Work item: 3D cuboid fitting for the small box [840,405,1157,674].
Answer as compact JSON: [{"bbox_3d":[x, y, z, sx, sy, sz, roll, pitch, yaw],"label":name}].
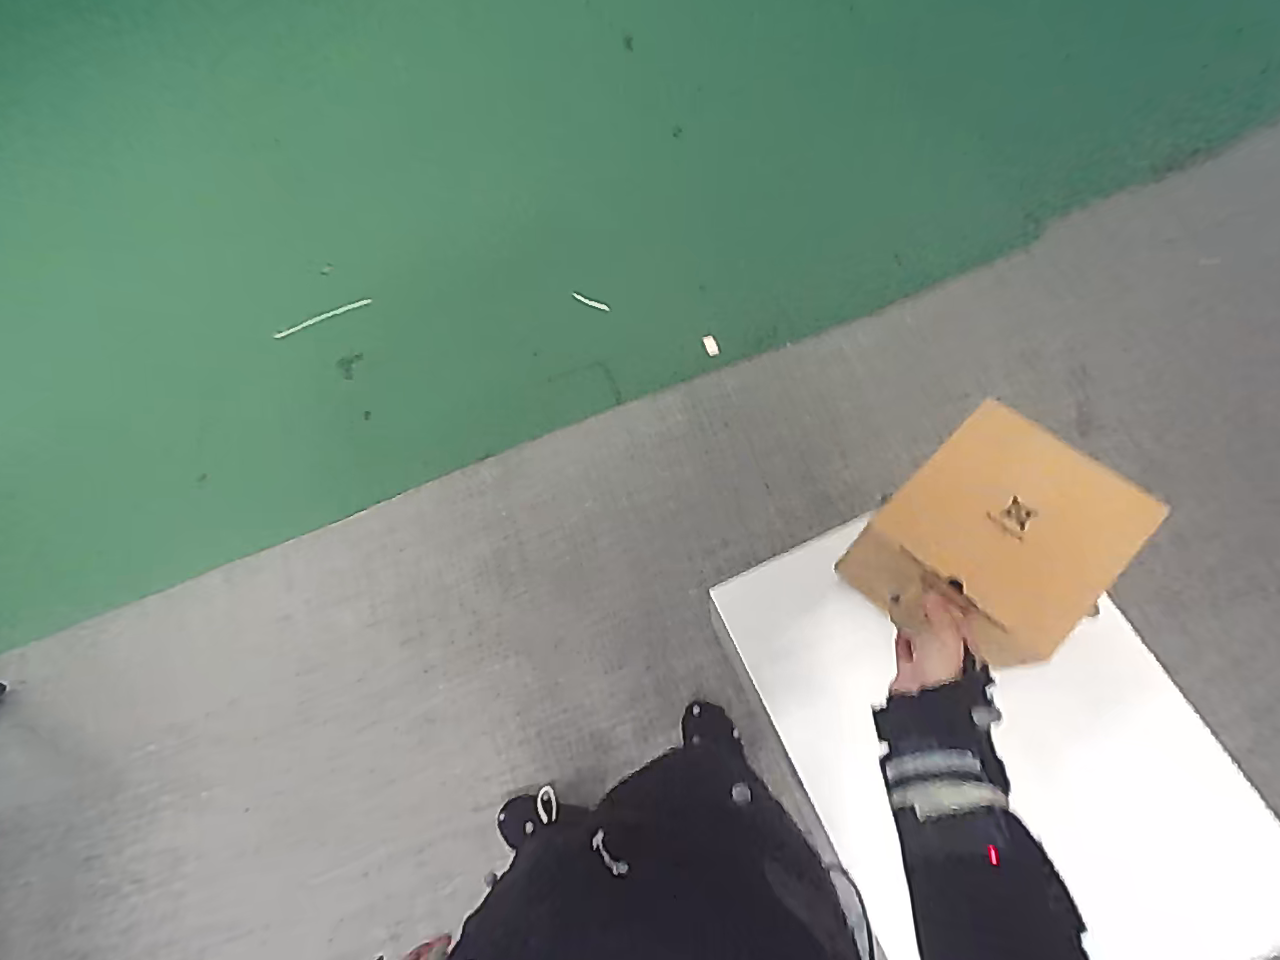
[{"bbox_3d":[0.324,0.067,0.533,0.168,0.176,0.179,41,79,21],"label":"small box"}]
